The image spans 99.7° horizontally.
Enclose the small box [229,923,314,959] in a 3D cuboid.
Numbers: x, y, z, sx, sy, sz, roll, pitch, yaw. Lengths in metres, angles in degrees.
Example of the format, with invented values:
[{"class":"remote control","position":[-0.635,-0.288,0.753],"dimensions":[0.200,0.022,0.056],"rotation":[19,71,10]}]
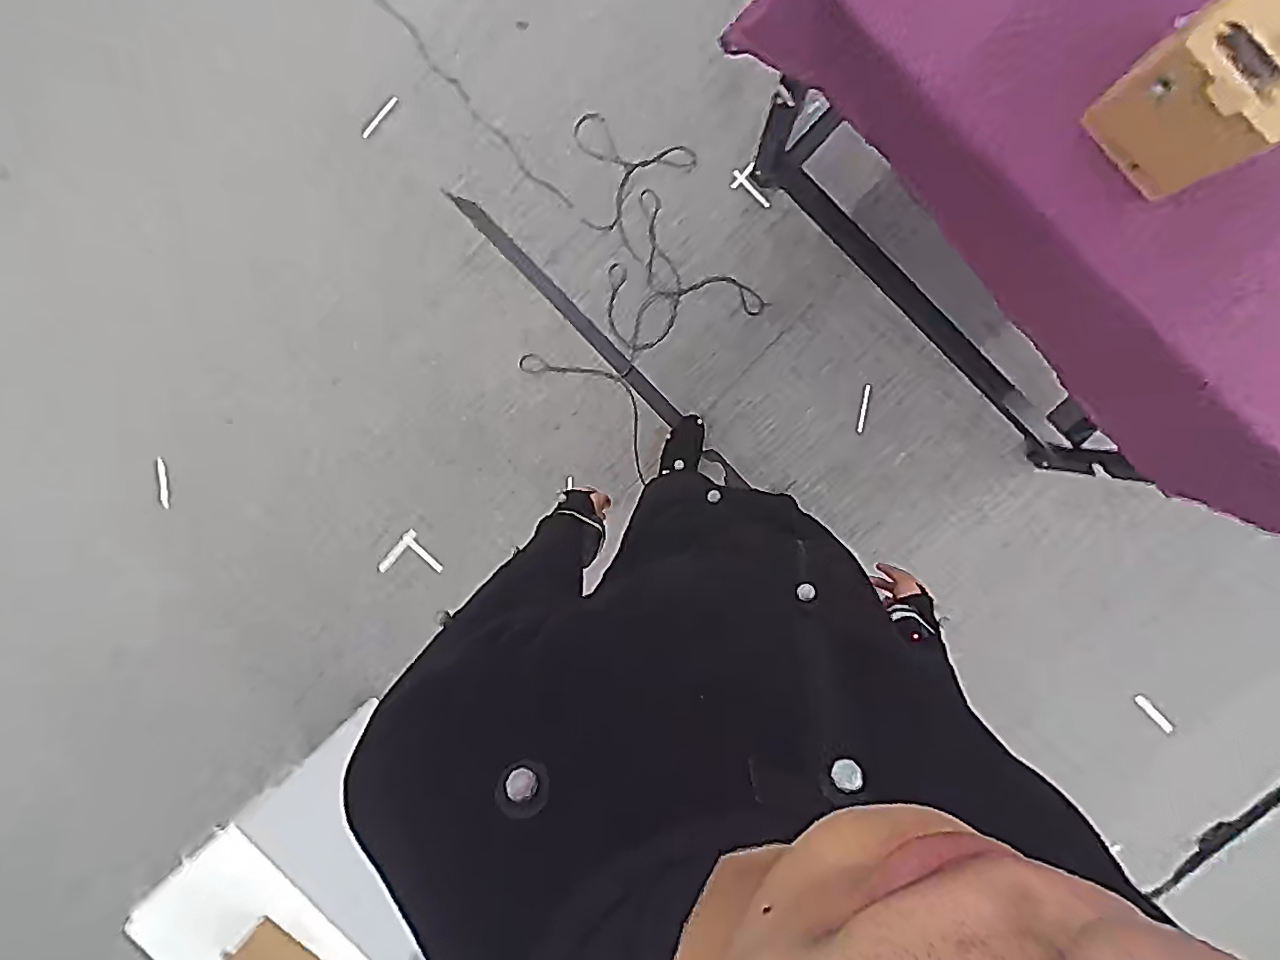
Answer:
[{"class":"small box","position":[-0.819,1.093,1.129],"dimensions":[0.179,0.176,0.168],"rotation":[40,97,-1]}]
